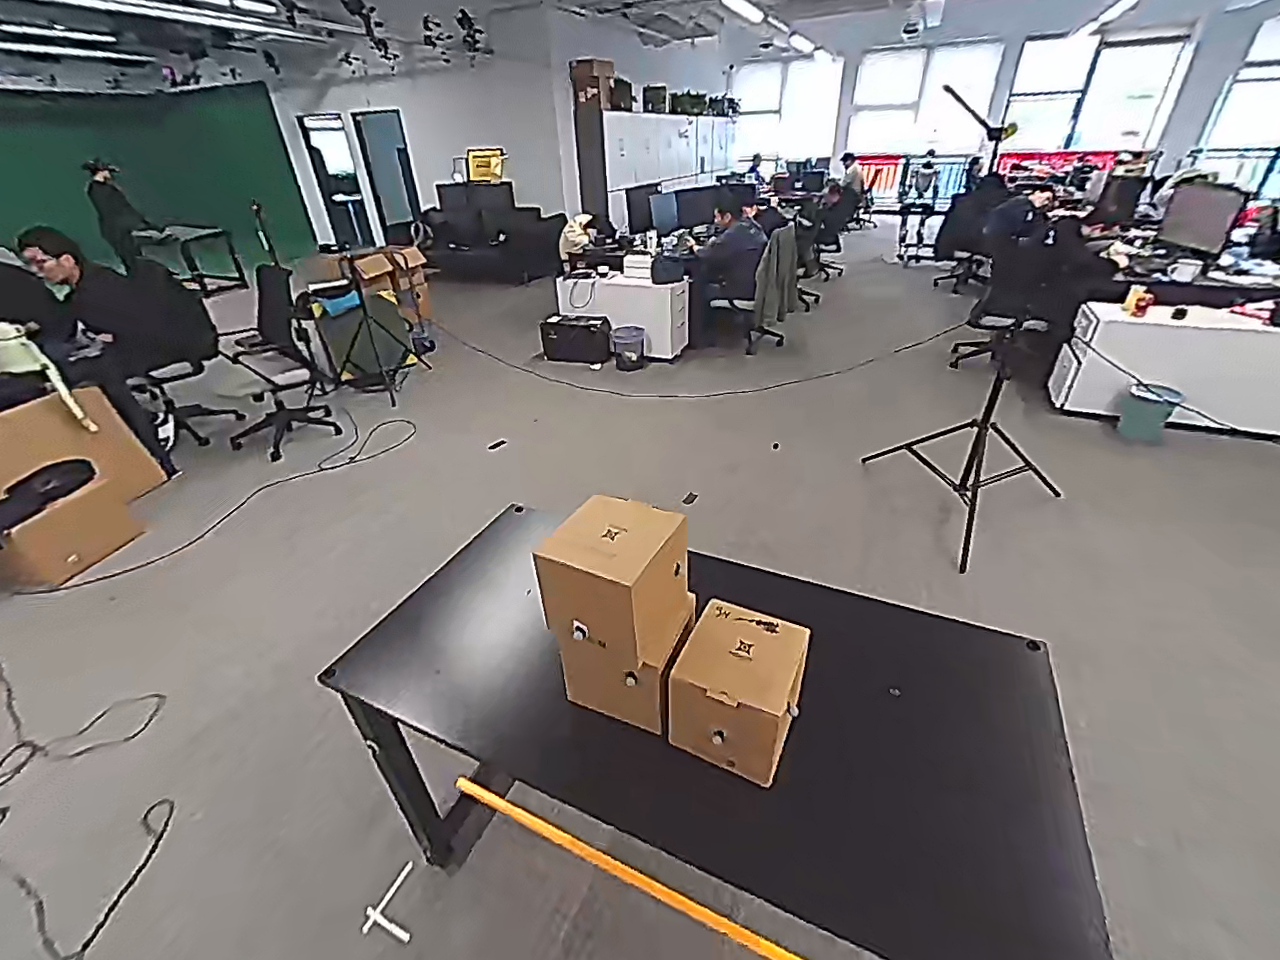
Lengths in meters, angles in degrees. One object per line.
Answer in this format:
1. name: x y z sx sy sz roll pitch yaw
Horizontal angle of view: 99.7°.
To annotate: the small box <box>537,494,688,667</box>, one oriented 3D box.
1. small box: -0.034 0.149 0.837 0.168 0.176 0.179 12 36 25
